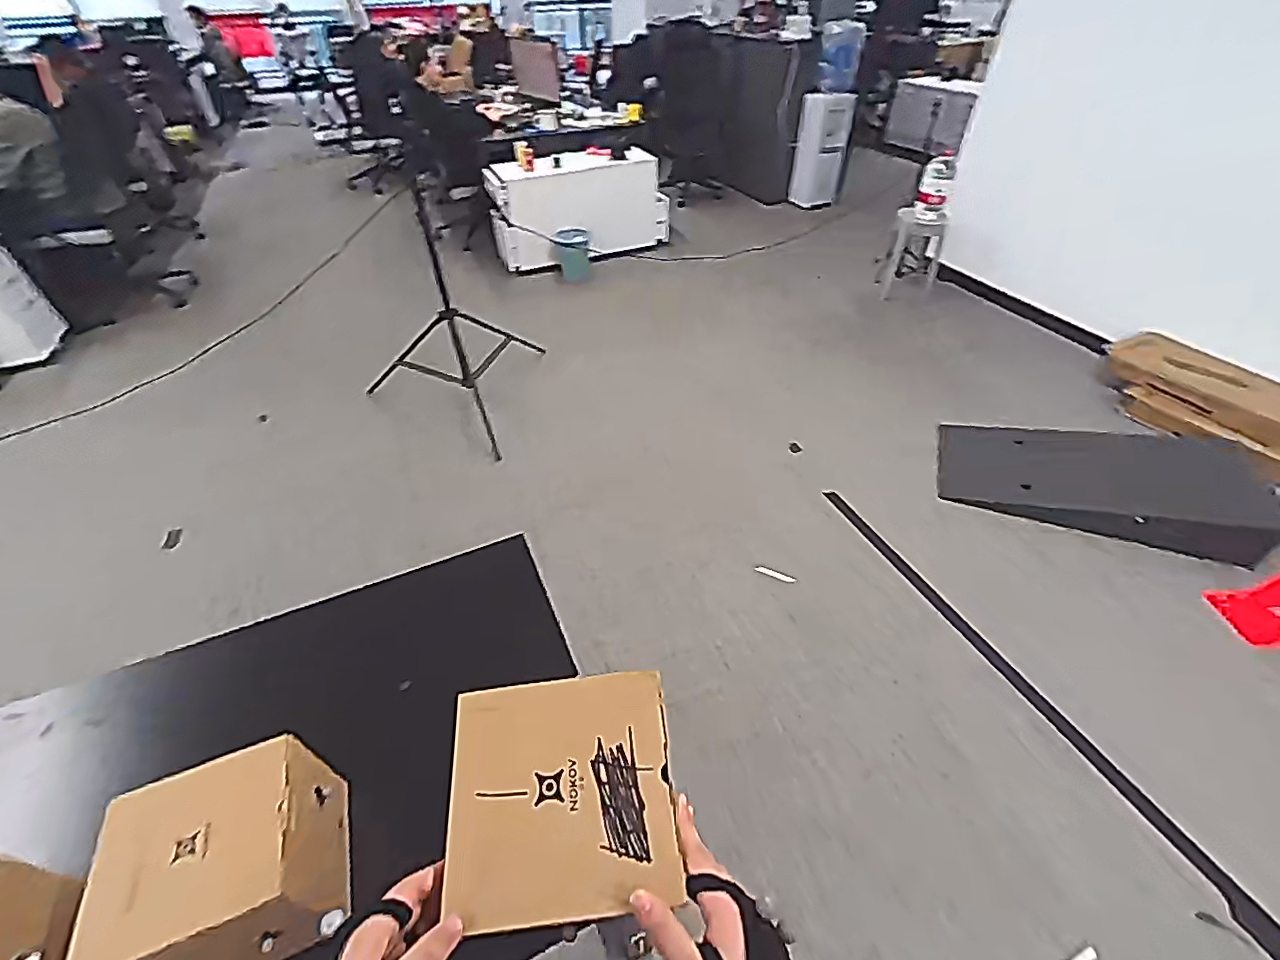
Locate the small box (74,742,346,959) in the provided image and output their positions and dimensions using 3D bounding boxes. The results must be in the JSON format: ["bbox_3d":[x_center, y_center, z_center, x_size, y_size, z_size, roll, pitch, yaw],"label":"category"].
[{"bbox_3d":[-0.440,0.429,0.590,0.179,0.176,0.168,-19,44,-16],"label":"small box"}]
